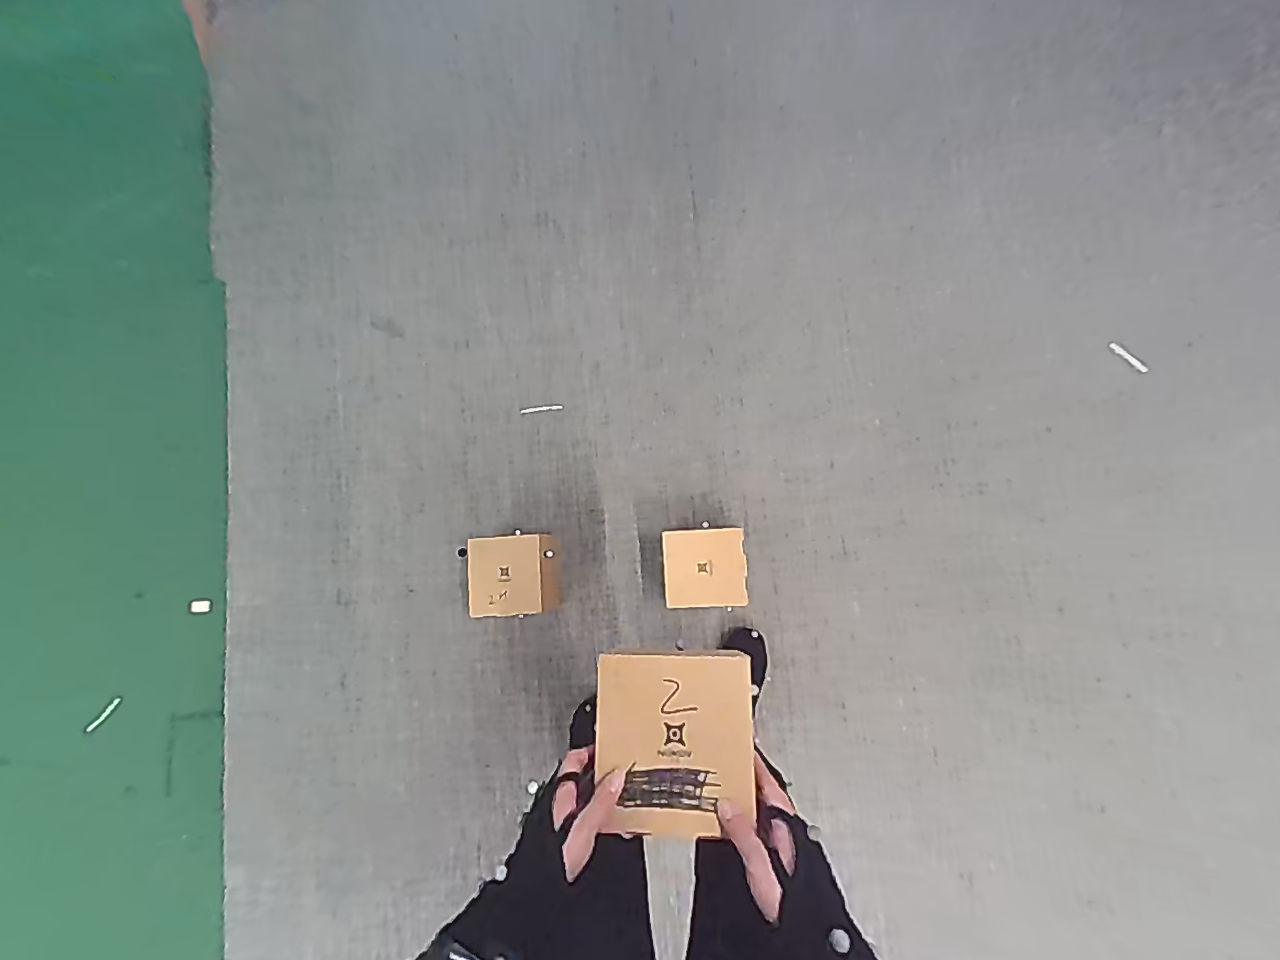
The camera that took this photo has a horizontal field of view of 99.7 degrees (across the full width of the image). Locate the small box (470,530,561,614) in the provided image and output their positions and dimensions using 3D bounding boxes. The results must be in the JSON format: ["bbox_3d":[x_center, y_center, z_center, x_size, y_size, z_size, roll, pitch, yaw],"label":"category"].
[{"bbox_3d":[-0.285,0.212,1.259,0.168,0.176,0.179,-5,83,6],"label":"small box"}]

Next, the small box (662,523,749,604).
[{"bbox_3d":[0.147,0.187,1.218,0.179,0.176,0.168,-4,83,5],"label":"small box"}]
